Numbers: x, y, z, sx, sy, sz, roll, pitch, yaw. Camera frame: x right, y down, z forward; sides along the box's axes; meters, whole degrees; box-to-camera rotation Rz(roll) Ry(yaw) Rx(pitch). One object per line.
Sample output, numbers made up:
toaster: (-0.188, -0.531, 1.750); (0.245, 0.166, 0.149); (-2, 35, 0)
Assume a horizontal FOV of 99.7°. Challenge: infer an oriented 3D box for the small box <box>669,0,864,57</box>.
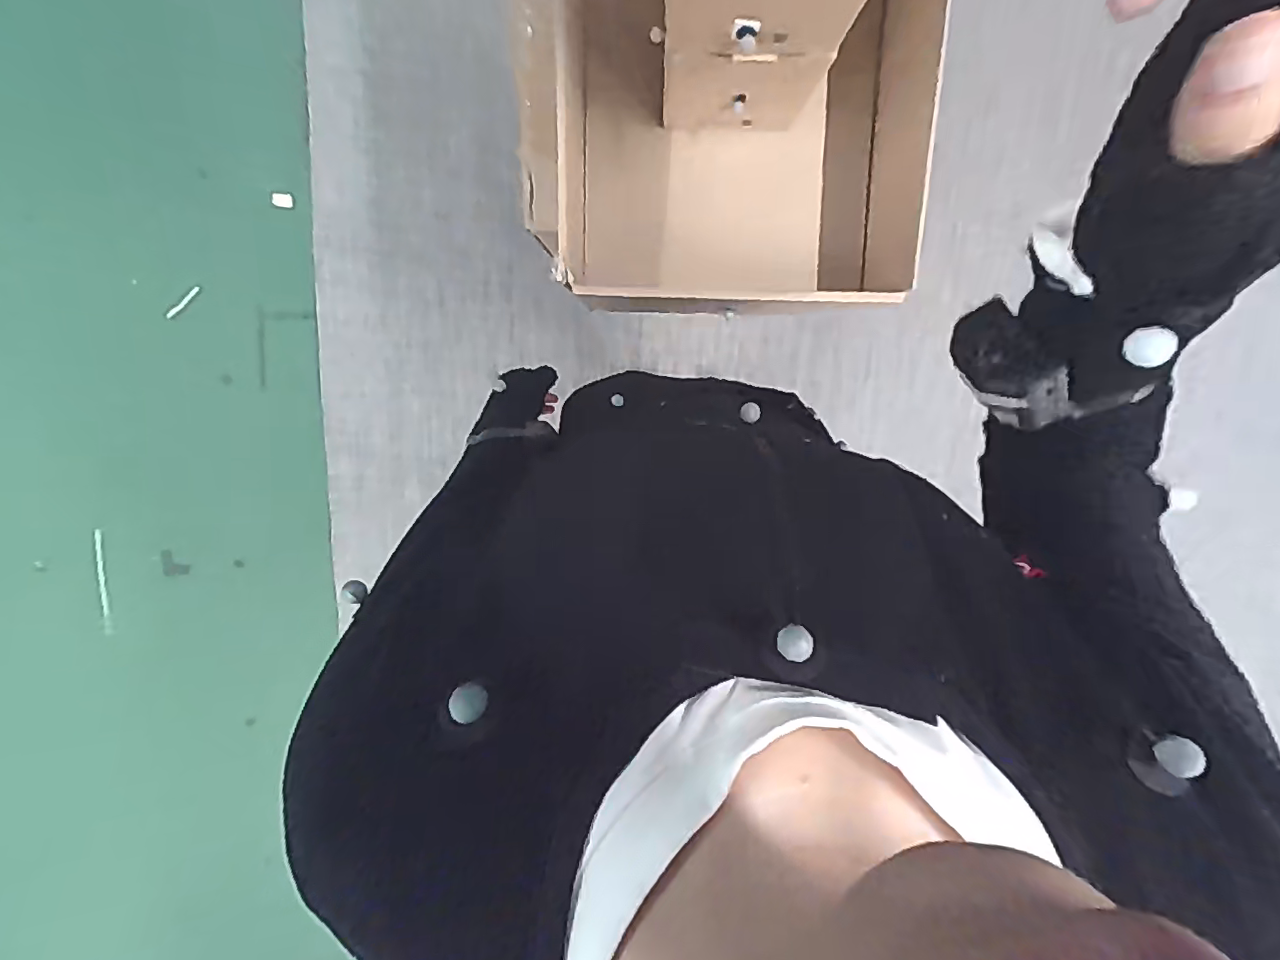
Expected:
small box: (0.108, -0.484, 0.431); (0.168, 0.176, 0.179); (-1, 102, 1)
